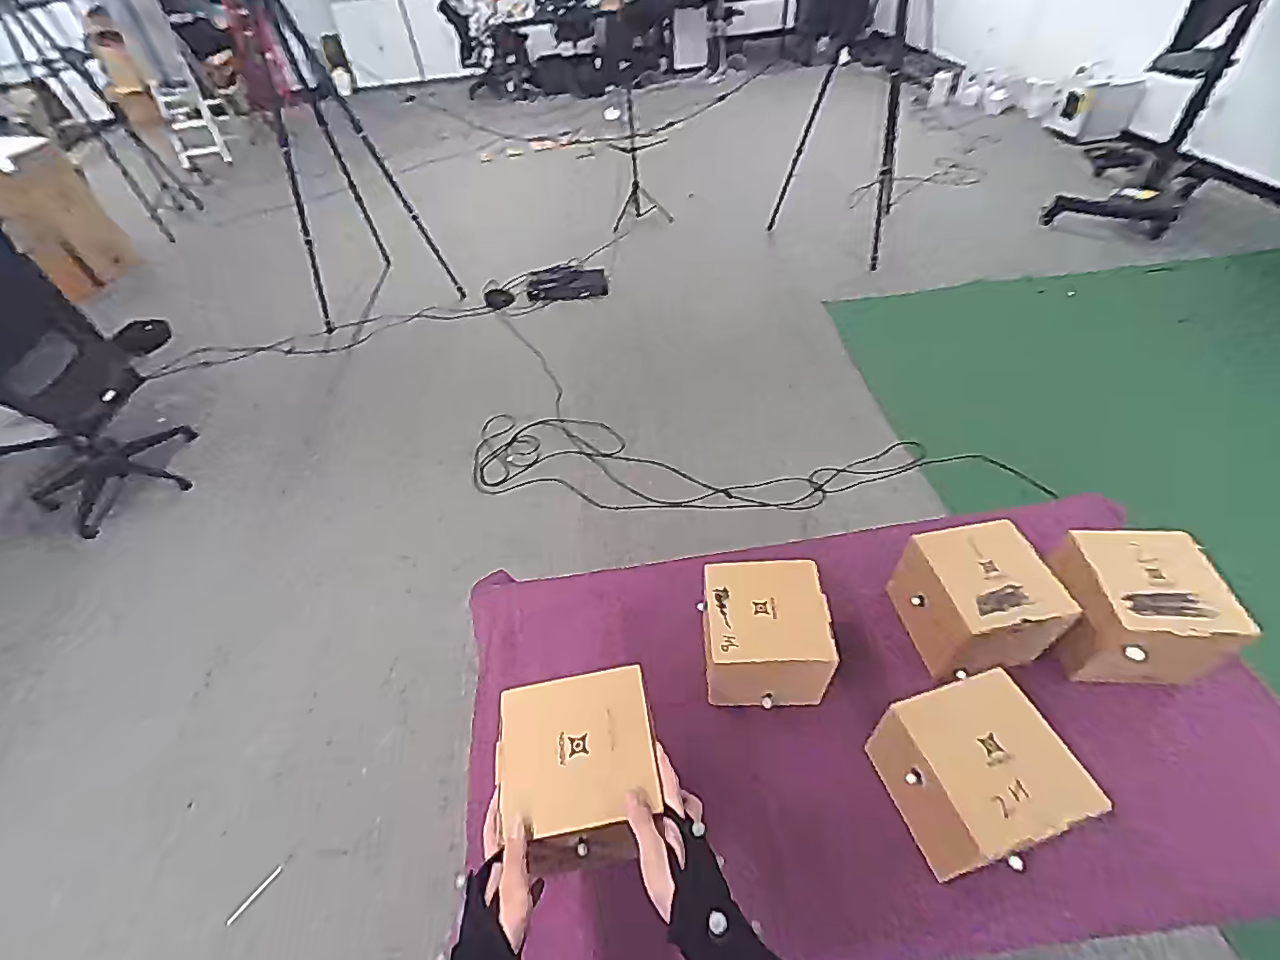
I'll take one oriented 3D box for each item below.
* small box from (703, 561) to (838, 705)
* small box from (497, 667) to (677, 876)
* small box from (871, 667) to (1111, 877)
[{"bbox_3d":[0.194,0.245,0.858,0.179,0.176,0.168,-2,46,4],"label":"small box"},{"bbox_3d":[-0.059,0.356,0.657,0.179,0.176,0.168,-10,44,-1],"label":"small box"},{"bbox_3d":[0.431,0.380,0.706,0.168,0.176,0.179,-15,46,-7],"label":"small box"}]
